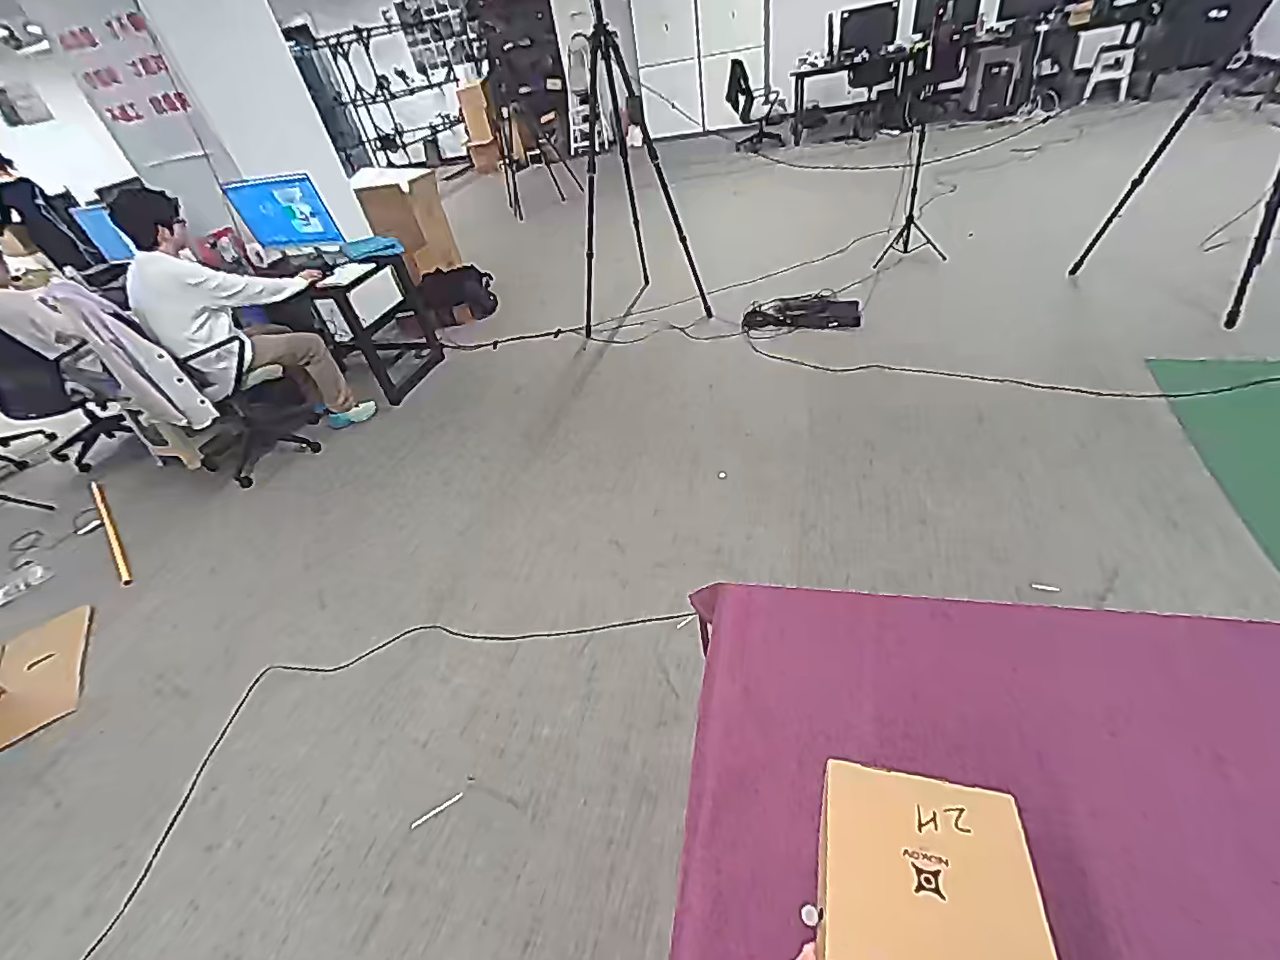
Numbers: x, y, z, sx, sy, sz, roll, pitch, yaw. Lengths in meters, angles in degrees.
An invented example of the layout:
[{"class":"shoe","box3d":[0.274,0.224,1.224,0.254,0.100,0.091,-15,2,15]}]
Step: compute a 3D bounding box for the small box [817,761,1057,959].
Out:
[{"class":"small box","box3d":[0.255,0.404,0.497,0.168,0.176,0.179,4,32,18]}]
